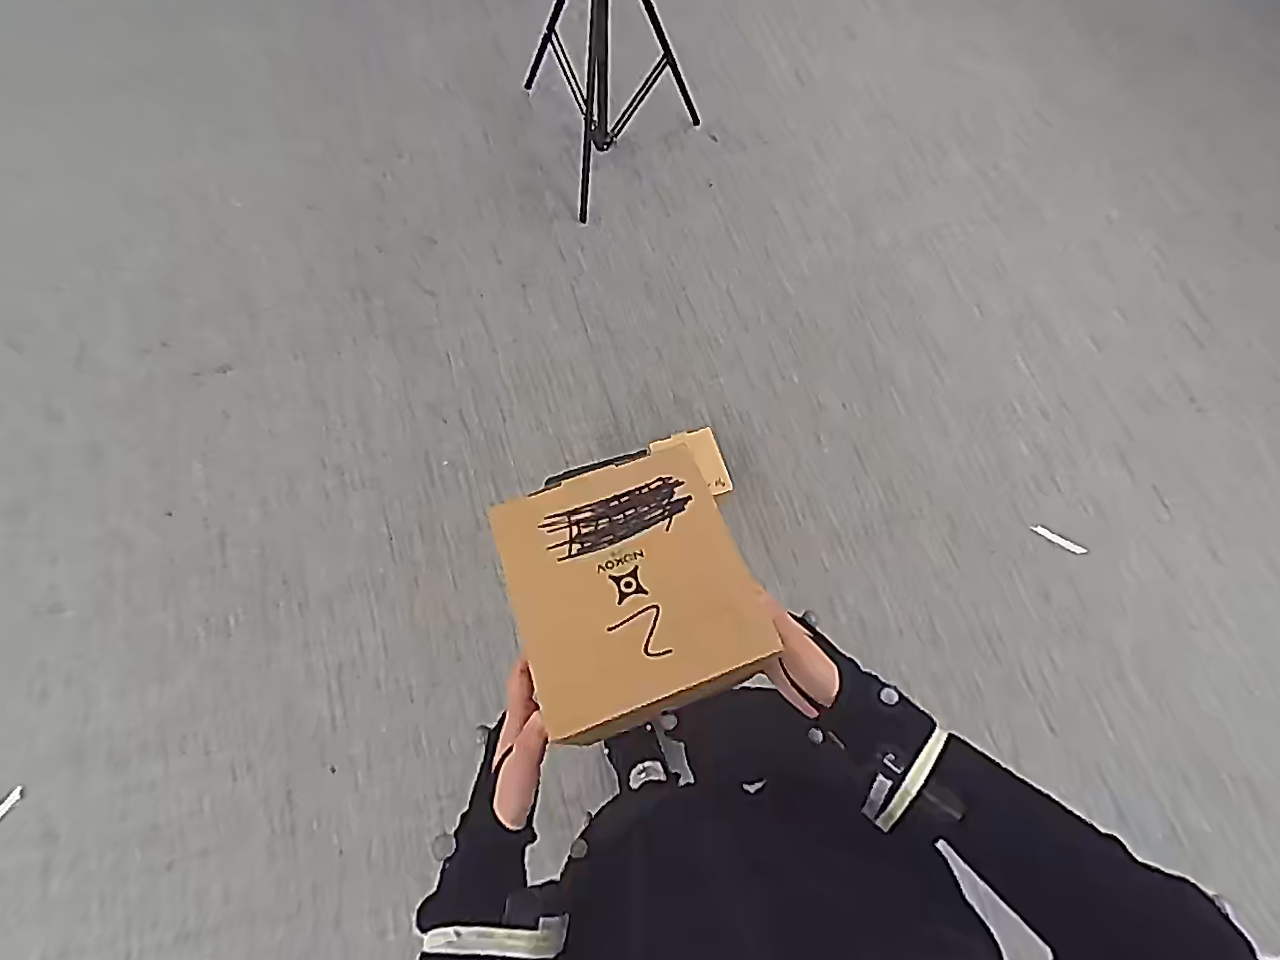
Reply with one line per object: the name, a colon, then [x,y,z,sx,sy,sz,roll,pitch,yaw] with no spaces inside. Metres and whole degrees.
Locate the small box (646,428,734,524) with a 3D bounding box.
small box: [0.120,-0.006,1.394,0.168,0.176,0.179,-16,73,-9]
